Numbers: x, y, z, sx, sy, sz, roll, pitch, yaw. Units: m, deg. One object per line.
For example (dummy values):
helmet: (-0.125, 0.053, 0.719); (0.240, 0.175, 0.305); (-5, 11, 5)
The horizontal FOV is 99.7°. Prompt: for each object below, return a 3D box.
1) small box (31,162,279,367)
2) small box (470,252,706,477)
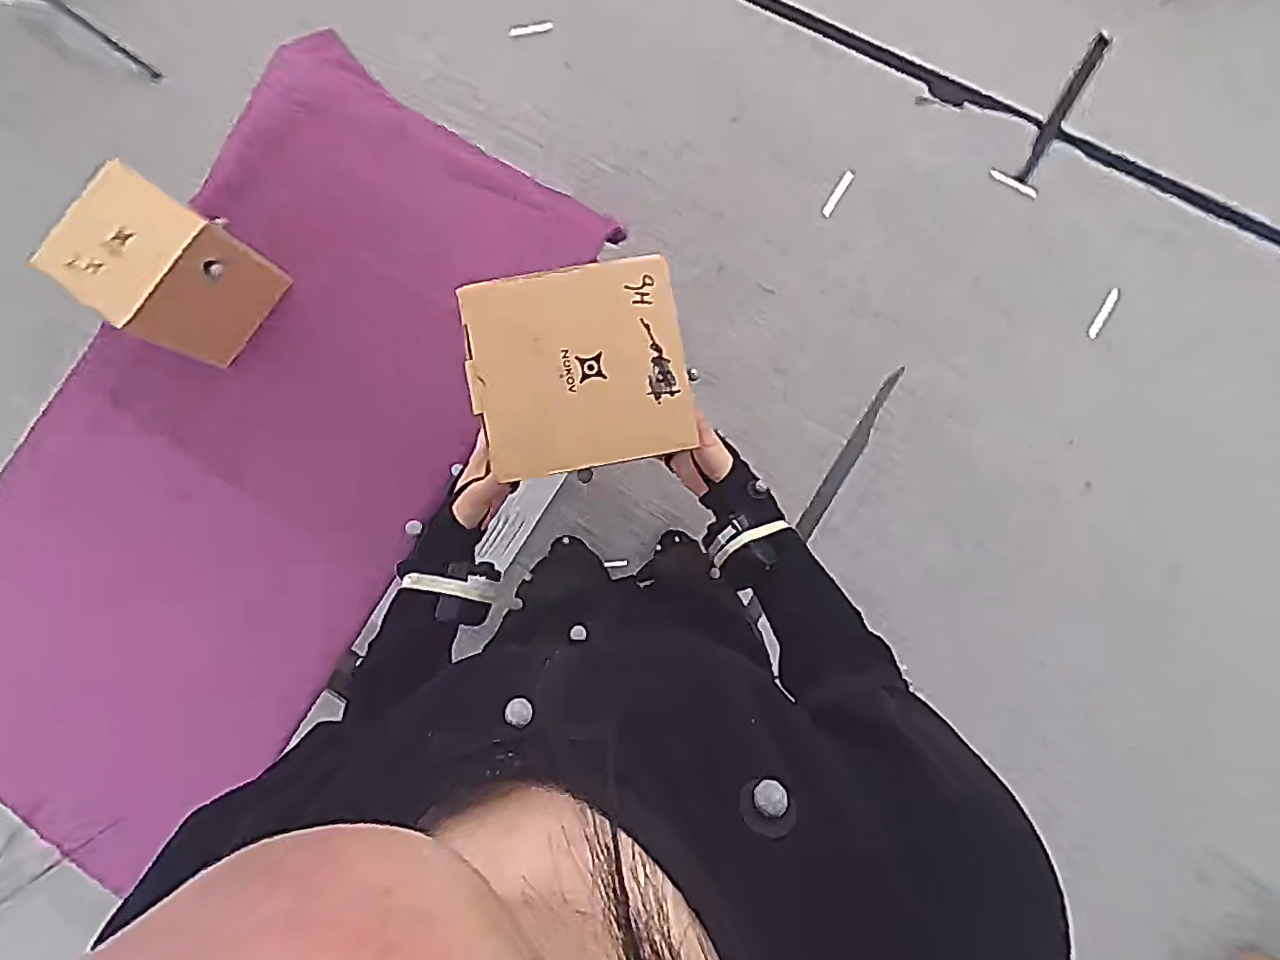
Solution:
small box: (-0.665, -0.293, 0.771); (0.168, 0.176, 0.179); (35, 88, 6)
small box: (-0.044, -0.096, 0.521); (0.179, 0.176, 0.168); (-9, 92, -2)
